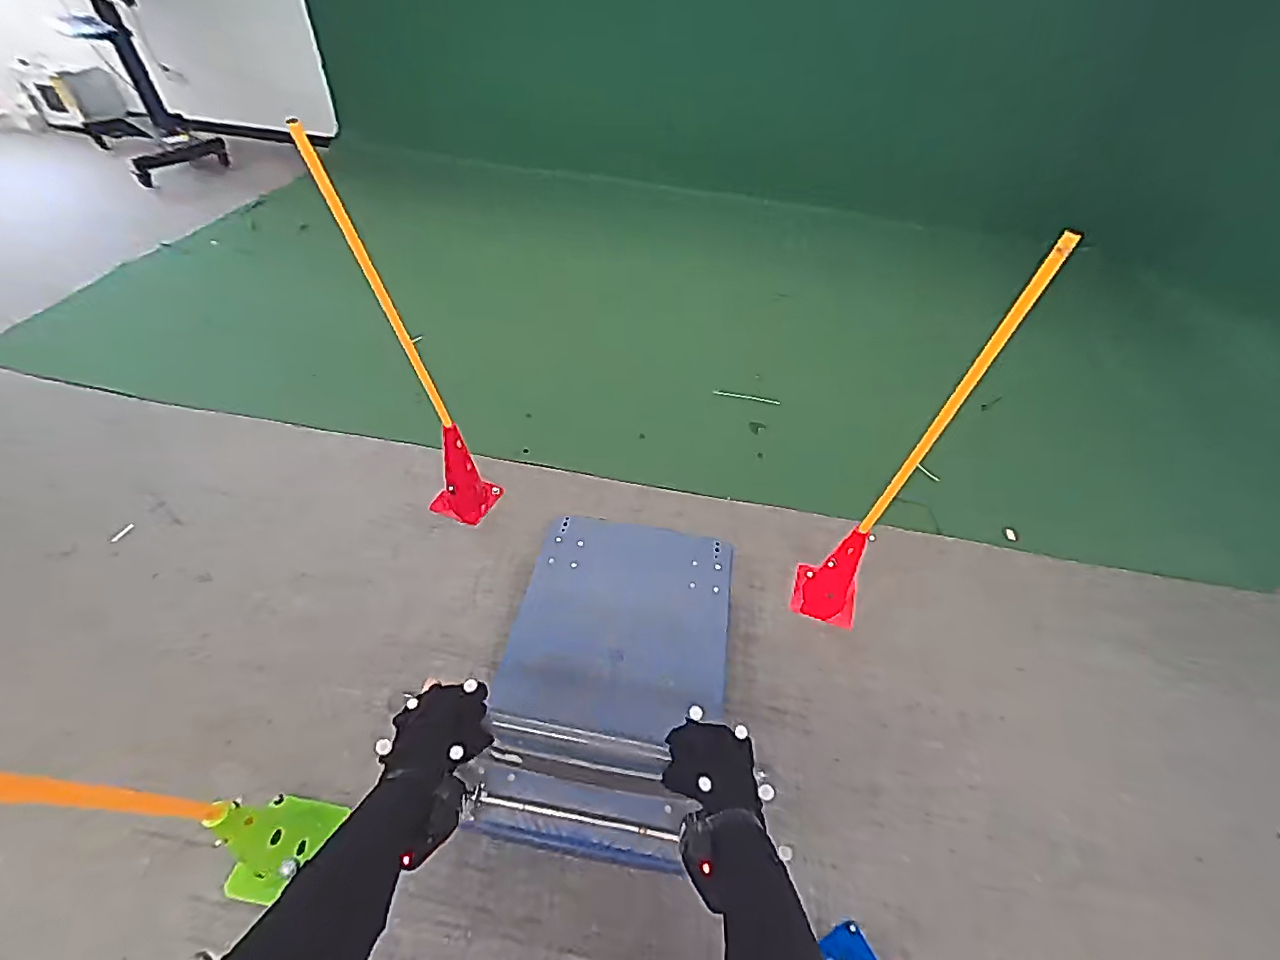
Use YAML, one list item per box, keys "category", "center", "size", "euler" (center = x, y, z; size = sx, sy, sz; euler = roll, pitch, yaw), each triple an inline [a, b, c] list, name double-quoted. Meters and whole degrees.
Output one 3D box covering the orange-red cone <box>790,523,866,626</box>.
- category: "orange-red cone"
  center: [0.617, 0.258, 1.664]
  size: [0.198, 0.360, 0.199]
  euler: [17, 48, 12]
